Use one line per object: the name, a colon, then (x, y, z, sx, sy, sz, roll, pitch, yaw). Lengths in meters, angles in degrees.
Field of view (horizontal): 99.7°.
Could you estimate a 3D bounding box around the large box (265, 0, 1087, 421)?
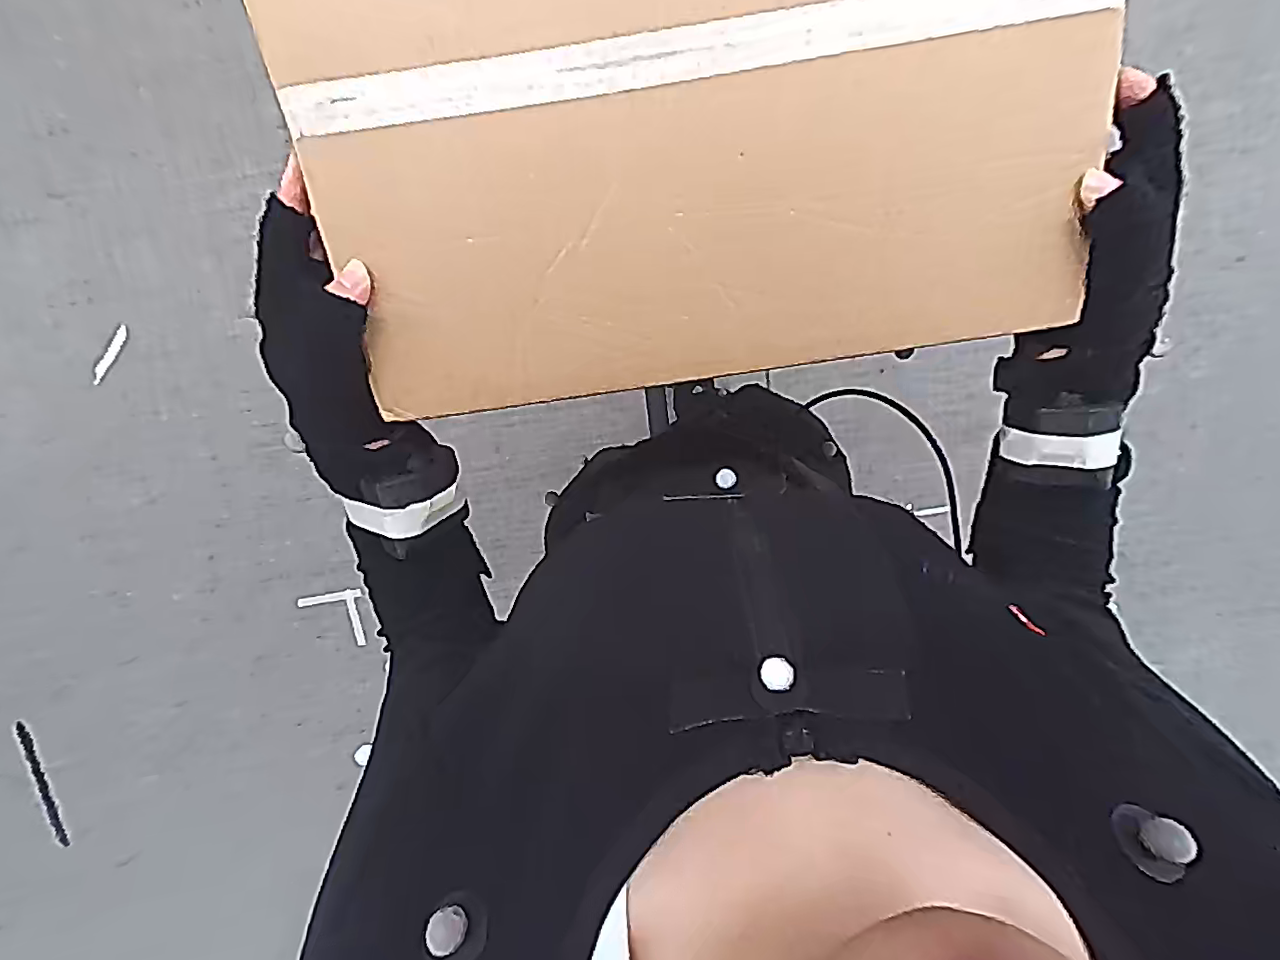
large box: (0.022, -0.260, 0.409, 0.408, 0.320, 0.320, -8, 110, 1)
